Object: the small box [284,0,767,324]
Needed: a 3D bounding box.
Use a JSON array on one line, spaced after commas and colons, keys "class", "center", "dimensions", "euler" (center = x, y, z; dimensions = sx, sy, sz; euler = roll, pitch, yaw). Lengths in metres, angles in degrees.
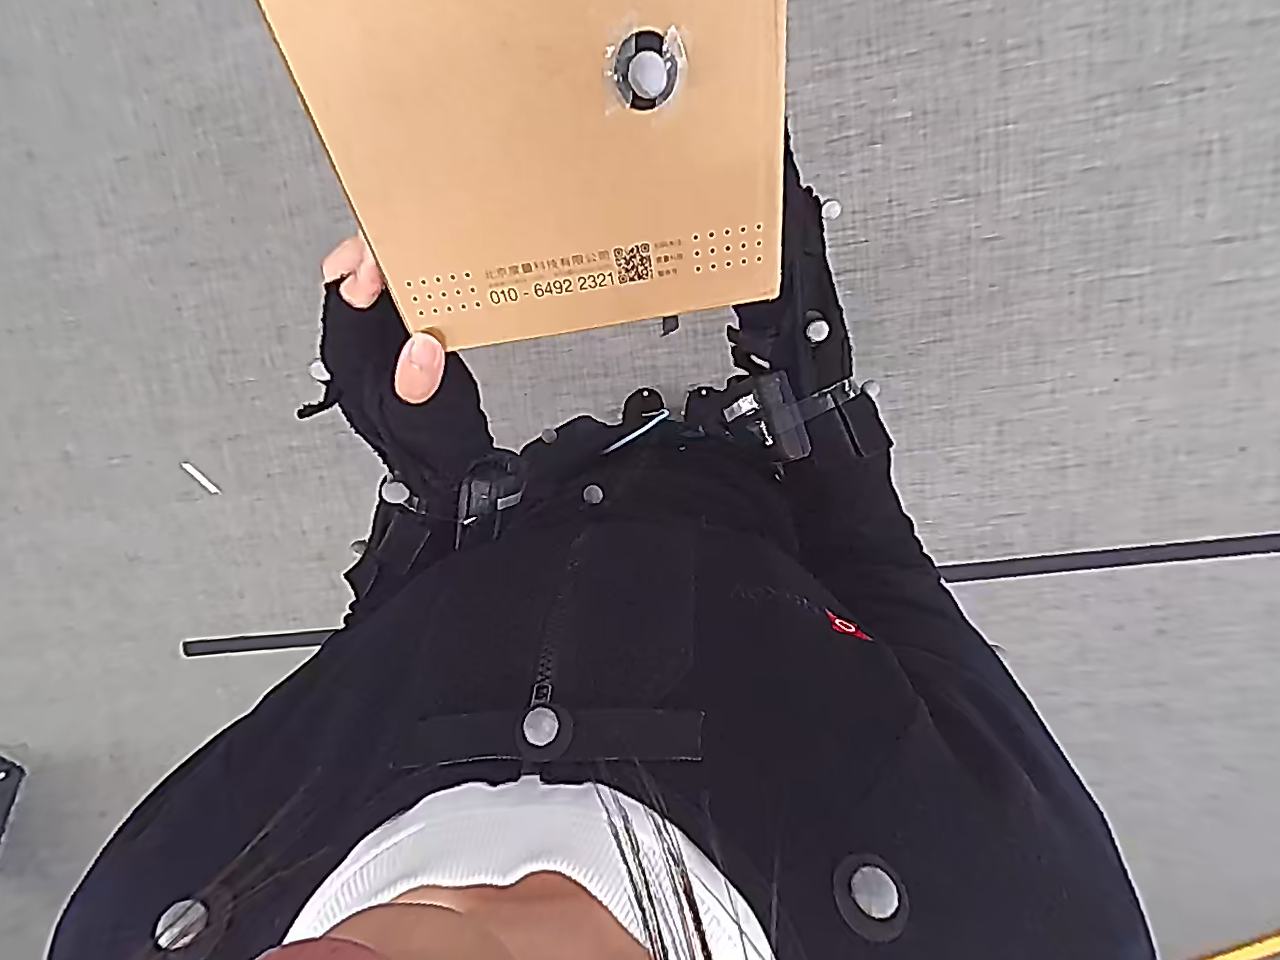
[{"class": "small box", "center": [-0.032, -0.189, 0.271], "dimensions": [0.168, 0.179, 0.176], "euler": [-7, 130, 5]}]
